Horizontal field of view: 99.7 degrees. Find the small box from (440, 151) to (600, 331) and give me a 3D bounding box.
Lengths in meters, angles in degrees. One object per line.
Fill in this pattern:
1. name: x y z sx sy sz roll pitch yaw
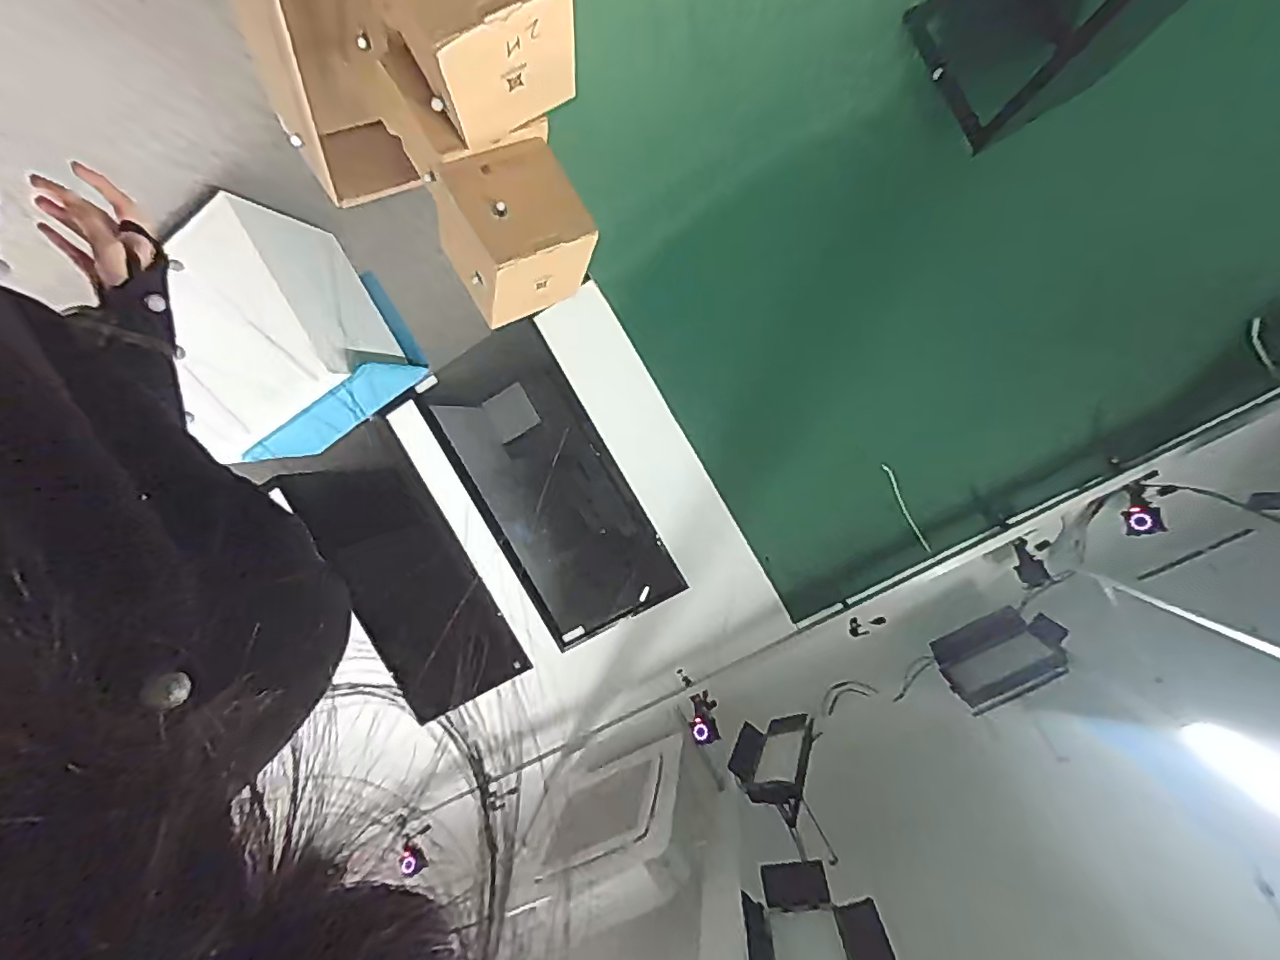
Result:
1. small box: -0.188 -0.365 0.822 0.168 0.176 0.179 -30 178 -22
